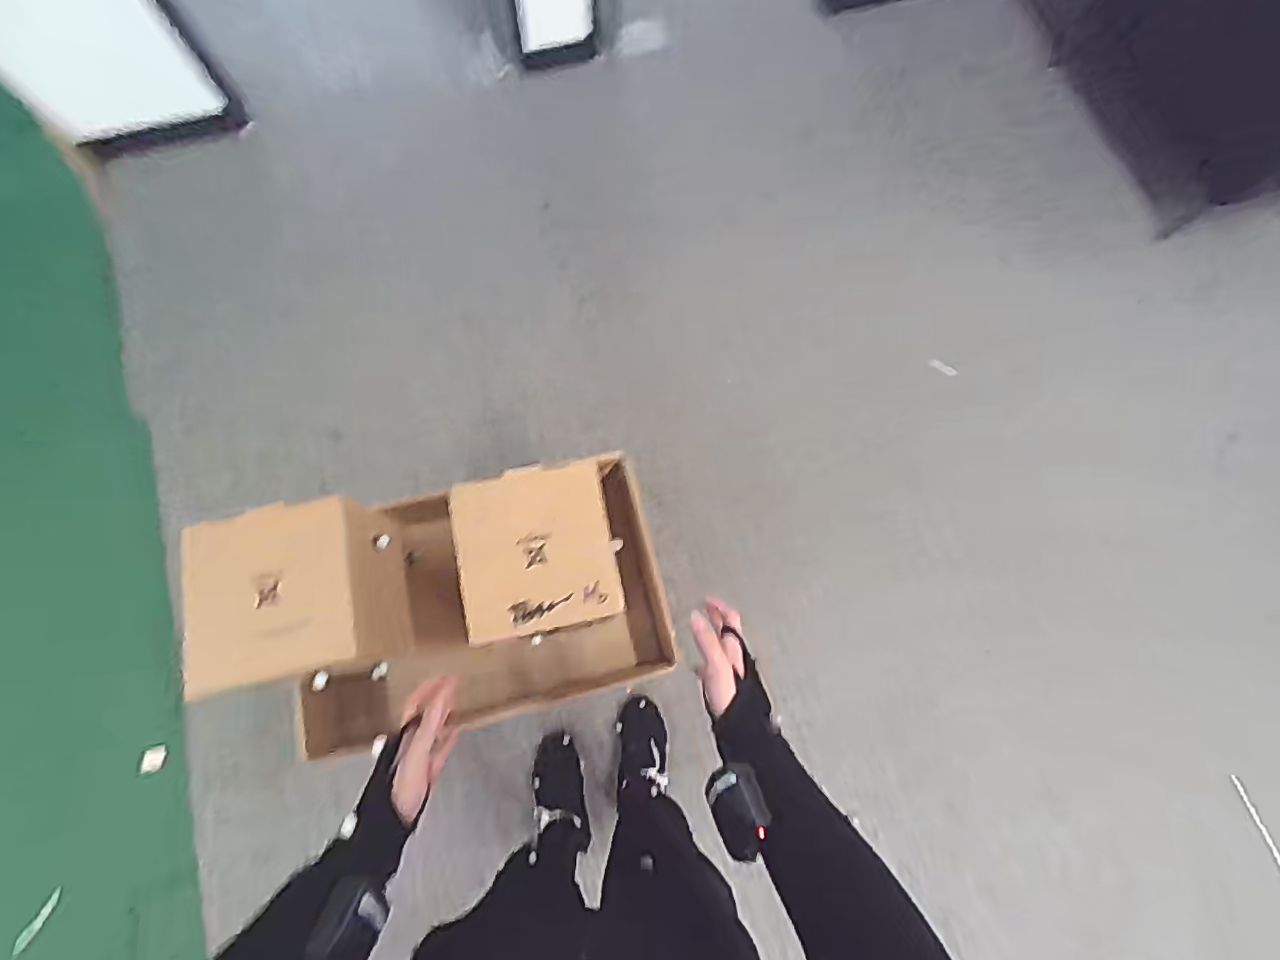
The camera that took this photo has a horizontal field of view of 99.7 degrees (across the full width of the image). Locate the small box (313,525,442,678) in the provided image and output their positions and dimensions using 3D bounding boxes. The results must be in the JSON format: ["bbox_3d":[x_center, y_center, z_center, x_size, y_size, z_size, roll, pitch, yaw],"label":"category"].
[{"bbox_3d":[-0.402,0.180,0.784,0.168,0.176,0.179,-13,76,-6],"label":"small box"}]

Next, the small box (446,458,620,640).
[{"bbox_3d":[-0.123,0.092,0.658,0.168,0.176,0.179,-11,75,-7],"label":"small box"}]

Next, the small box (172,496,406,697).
[{"bbox_3d":[-0.391,0.136,0.628,0.168,0.176,0.179,-12,75,-6],"label":"small box"}]
